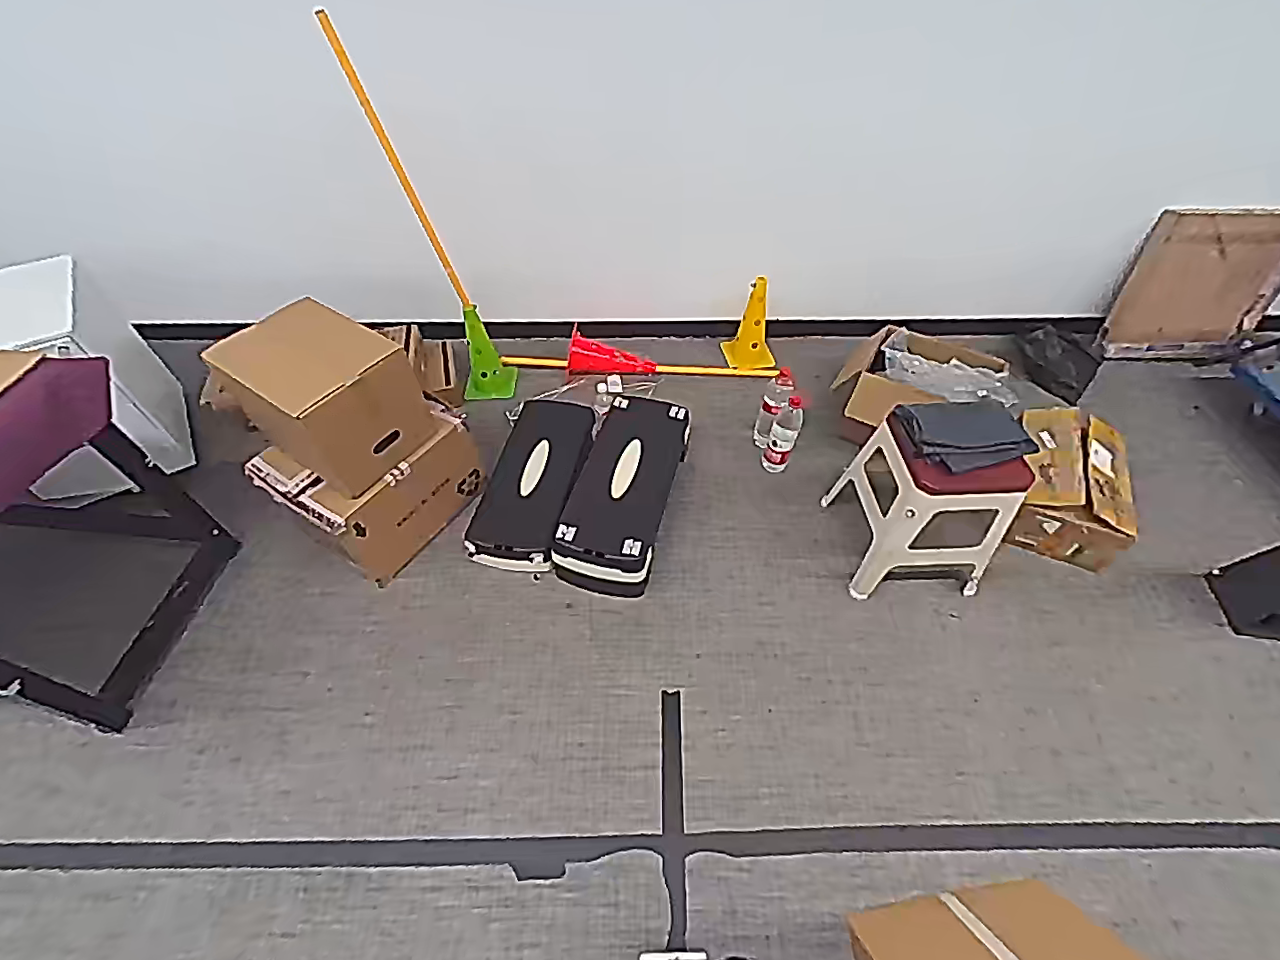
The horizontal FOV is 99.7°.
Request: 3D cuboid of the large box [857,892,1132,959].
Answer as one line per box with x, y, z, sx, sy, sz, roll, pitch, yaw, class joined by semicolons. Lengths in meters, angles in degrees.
0.502;0.770;0.608;0.320;0.408;0.320;-8;83;-4;large box
